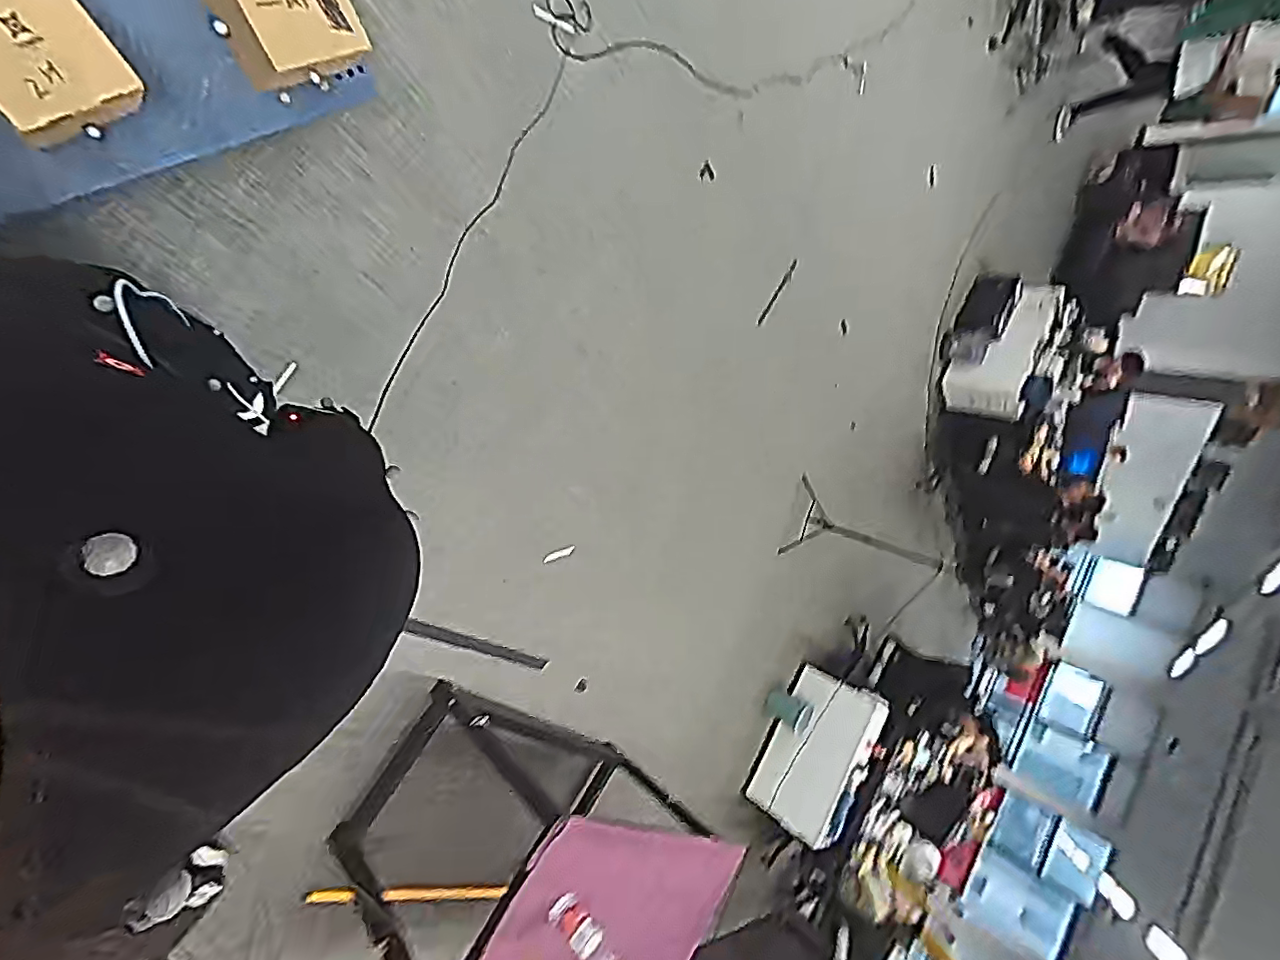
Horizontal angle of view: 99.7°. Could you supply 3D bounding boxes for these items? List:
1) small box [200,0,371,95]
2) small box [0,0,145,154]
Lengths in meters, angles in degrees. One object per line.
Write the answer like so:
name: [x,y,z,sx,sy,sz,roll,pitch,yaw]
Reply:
small box: [-0.607,-0.788,0.922,0.179,0.176,0.168,-41,131,-26]
small box: [-0.851,-0.588,0.751,0.168,0.176,0.179,-46,133,-22]
